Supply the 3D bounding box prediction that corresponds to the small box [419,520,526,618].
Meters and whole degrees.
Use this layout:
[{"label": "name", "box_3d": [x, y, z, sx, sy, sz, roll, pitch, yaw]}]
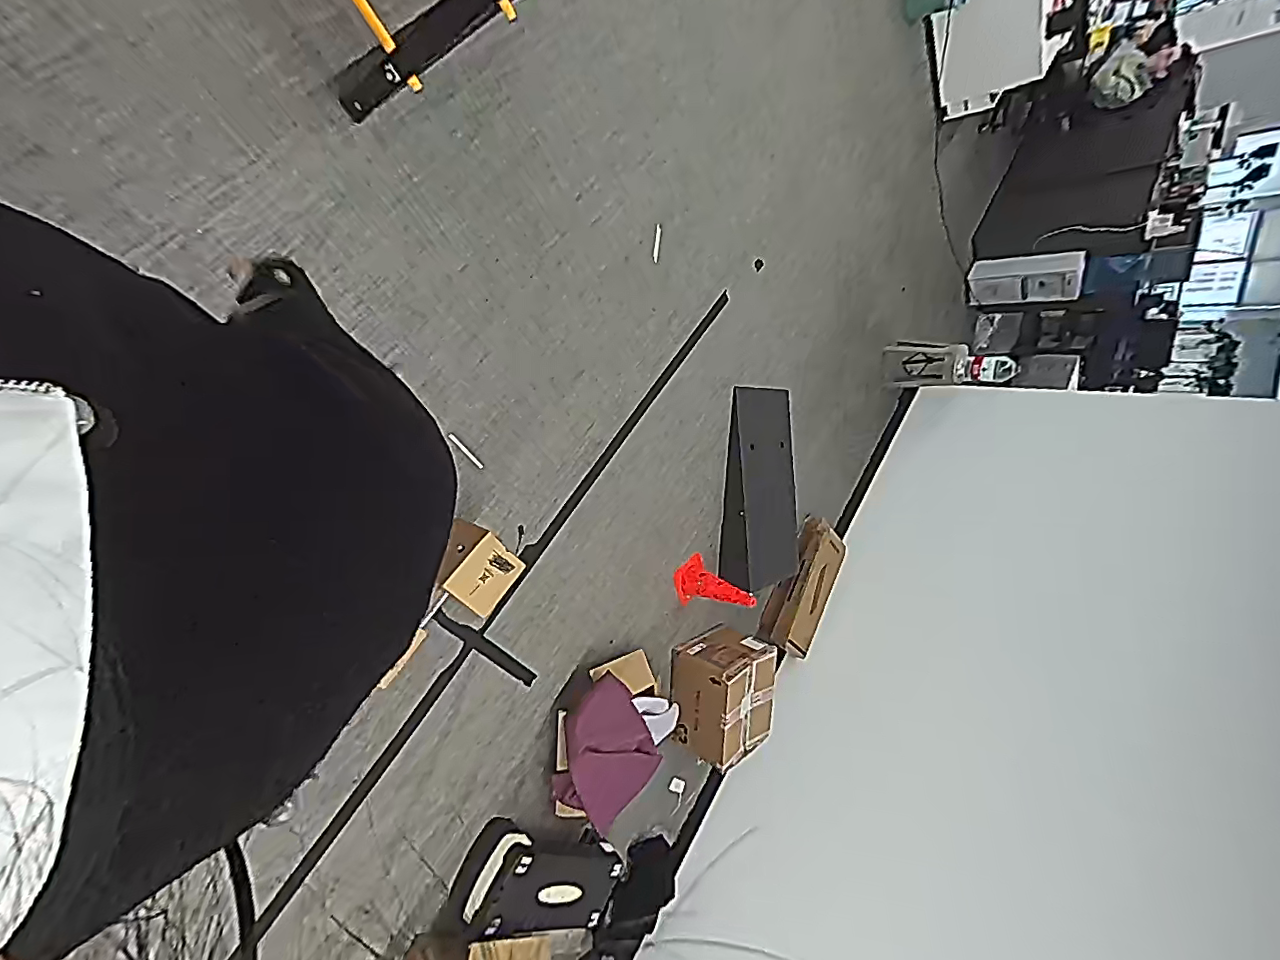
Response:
[{"label": "small box", "box_3d": [-0.446, 0.229, 1.435, 0.179, 0.176, 0.168, -53, 132, -22]}]
